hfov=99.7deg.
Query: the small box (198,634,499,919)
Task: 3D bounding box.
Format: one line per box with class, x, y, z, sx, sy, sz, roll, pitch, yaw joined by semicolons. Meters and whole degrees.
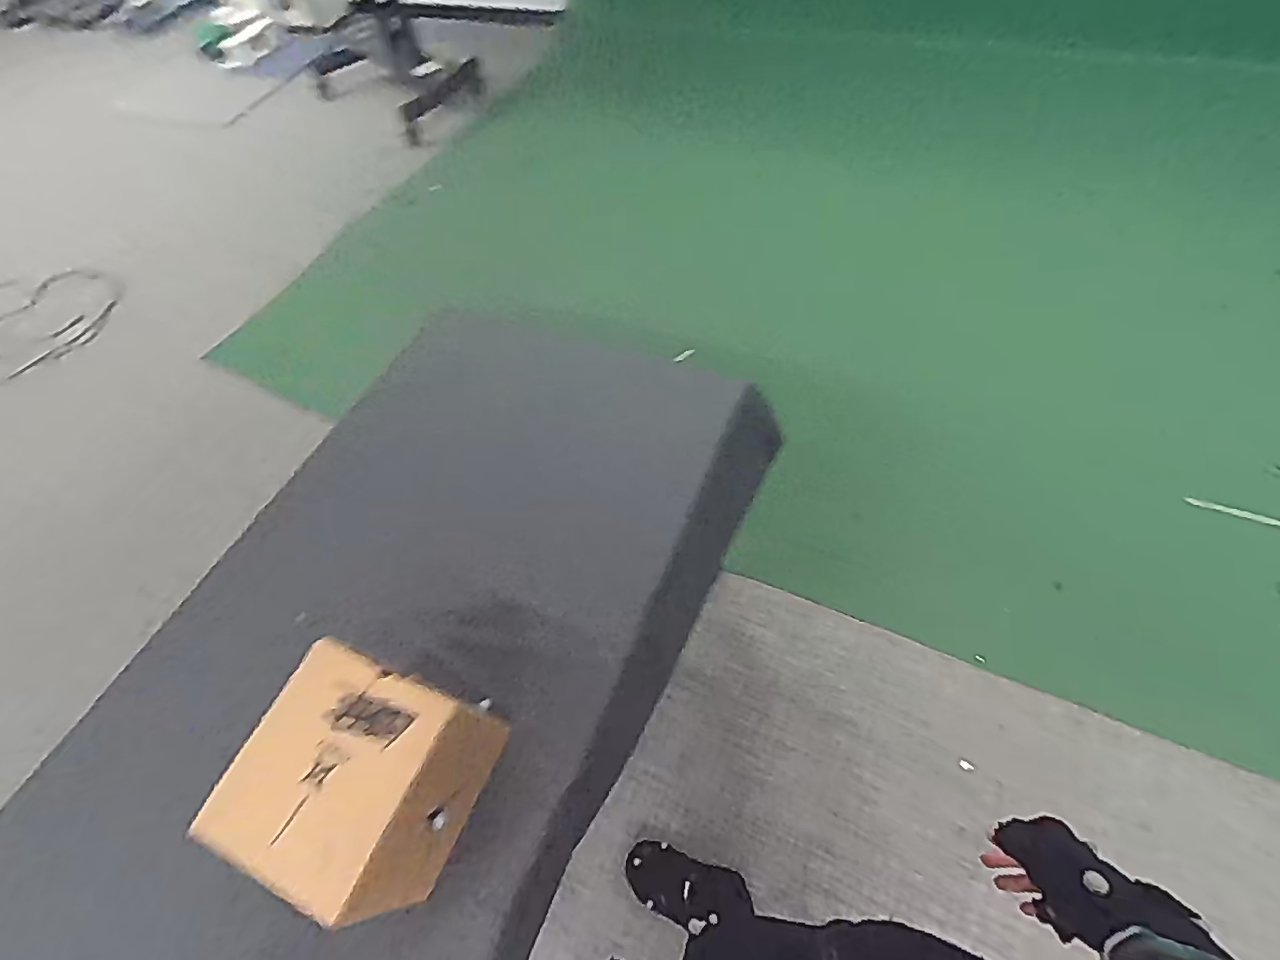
small box;-0.263;0.285;0.543;0.168;0.176;0.179;17;63;17
